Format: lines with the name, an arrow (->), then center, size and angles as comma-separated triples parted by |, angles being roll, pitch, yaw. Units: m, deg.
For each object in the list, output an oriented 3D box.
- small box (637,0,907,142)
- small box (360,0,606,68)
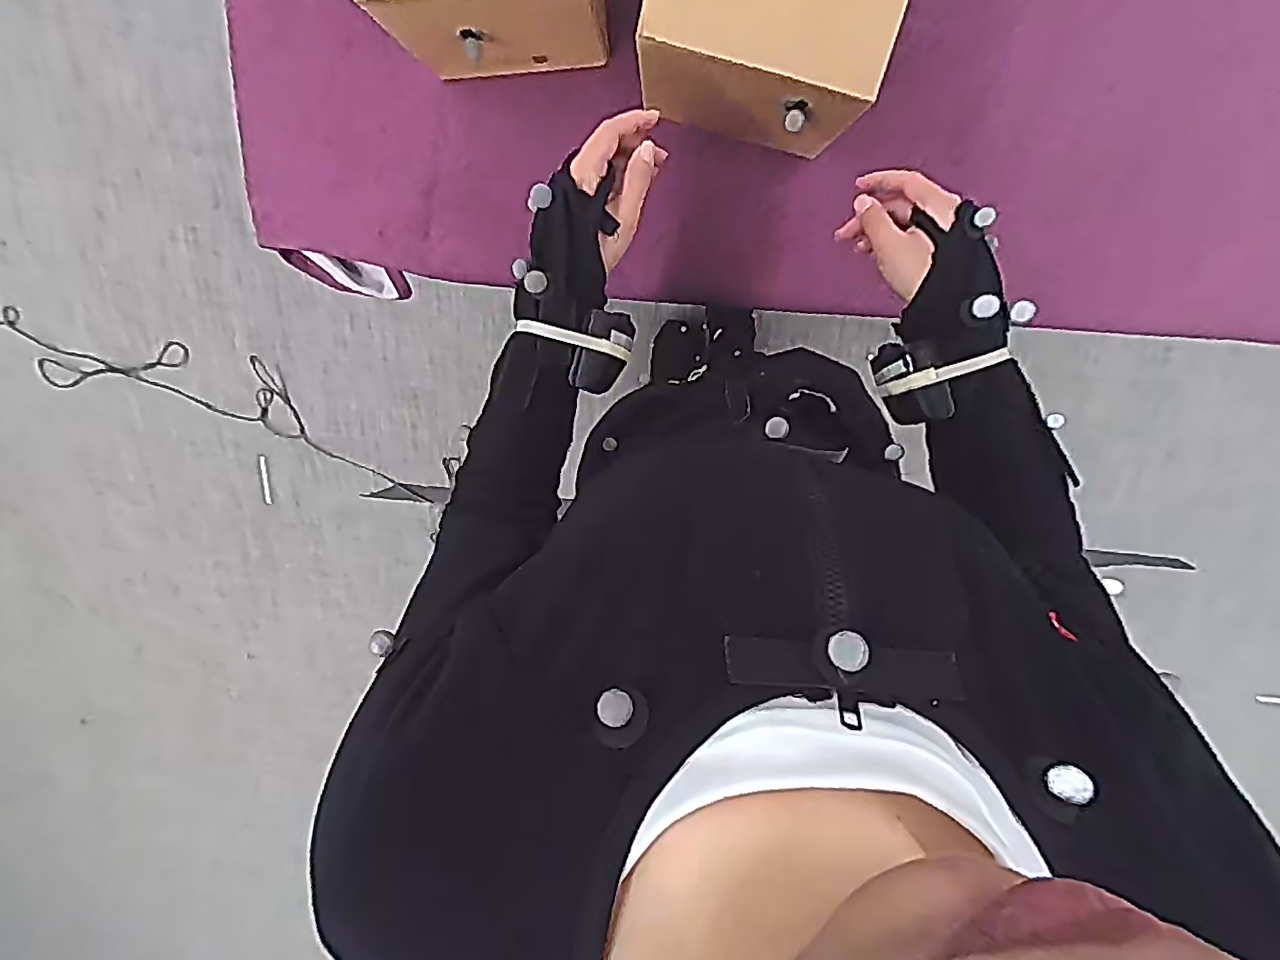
small box -> 0.104, -0.391, 0.425 | 0.179, 0.176, 0.168 | 14, 108, -2
small box -> -0.121, -0.450, 0.417 | 0.168, 0.176, 0.179 | -3, 109, 4
